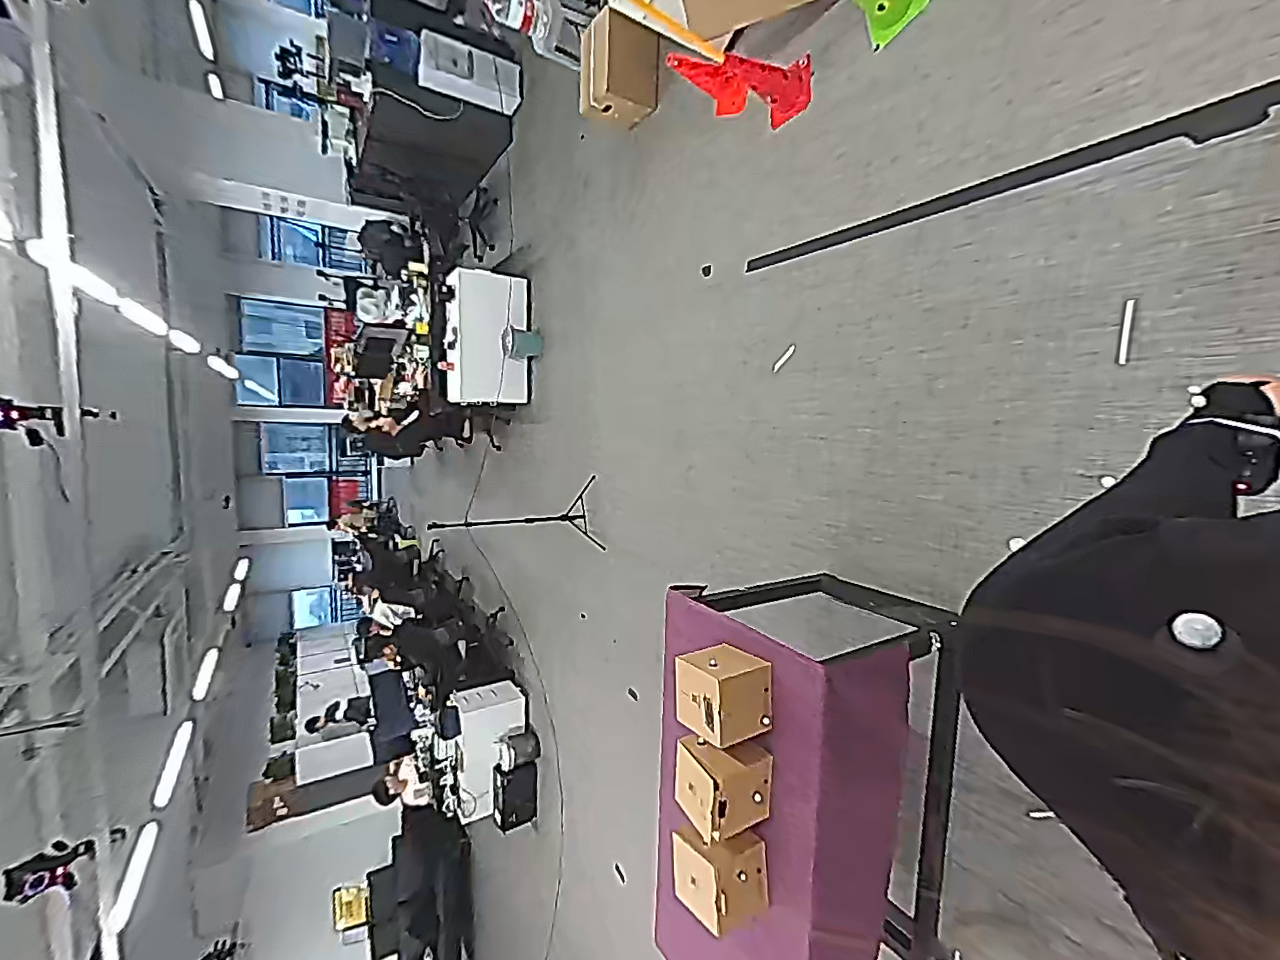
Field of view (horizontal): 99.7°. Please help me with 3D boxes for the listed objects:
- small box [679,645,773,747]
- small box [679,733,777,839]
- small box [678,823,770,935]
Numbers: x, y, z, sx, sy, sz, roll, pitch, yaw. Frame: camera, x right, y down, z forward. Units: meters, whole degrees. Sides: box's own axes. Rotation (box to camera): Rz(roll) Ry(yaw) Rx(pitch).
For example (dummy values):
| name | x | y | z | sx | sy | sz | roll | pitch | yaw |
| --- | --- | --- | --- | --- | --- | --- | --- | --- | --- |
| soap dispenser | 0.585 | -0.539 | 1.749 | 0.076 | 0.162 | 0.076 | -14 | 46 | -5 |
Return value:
| name | x | y | z | sx | sy | sz | roll | pitch | yaw |
| --- | --- | --- | --- | --- | --- | --- | --- | --- | --- |
| small box | 0.215 | 0.525 | 1.343 | 0.179 | 0.176 | 0.168 | 3 | 95 | 59 |
| small box | 0.218 | 0.744 | 1.358 | 0.179 | 0.176 | 0.168 | 14 | 104 | 57 |
| small box | 0.218 | 0.990 | 1.382 | 0.179 | 0.176 | 0.168 | -5 | 88 | 58 |
